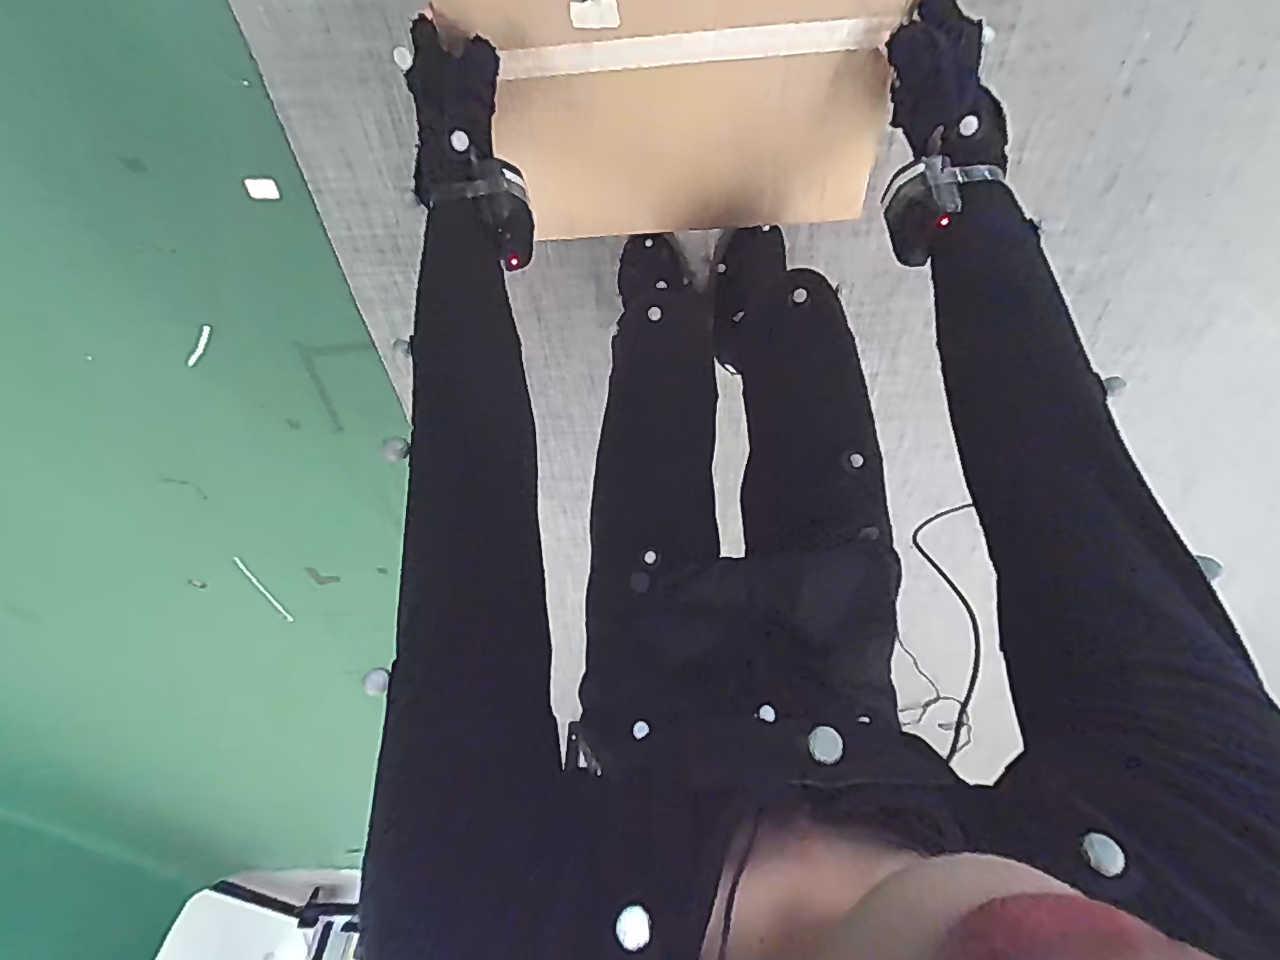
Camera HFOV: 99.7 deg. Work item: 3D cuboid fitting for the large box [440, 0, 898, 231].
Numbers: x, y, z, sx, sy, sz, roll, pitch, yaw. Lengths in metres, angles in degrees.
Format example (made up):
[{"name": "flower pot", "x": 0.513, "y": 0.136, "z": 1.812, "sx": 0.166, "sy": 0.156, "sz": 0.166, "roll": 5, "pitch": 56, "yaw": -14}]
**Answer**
[{"name": "large box", "x": 0.029, "y": -0.500, "z": 0.592, "sx": 0.408, "sy": 0.320, "sz": 0.320, "roll": -2, "pitch": 133, "yaw": 3}]
